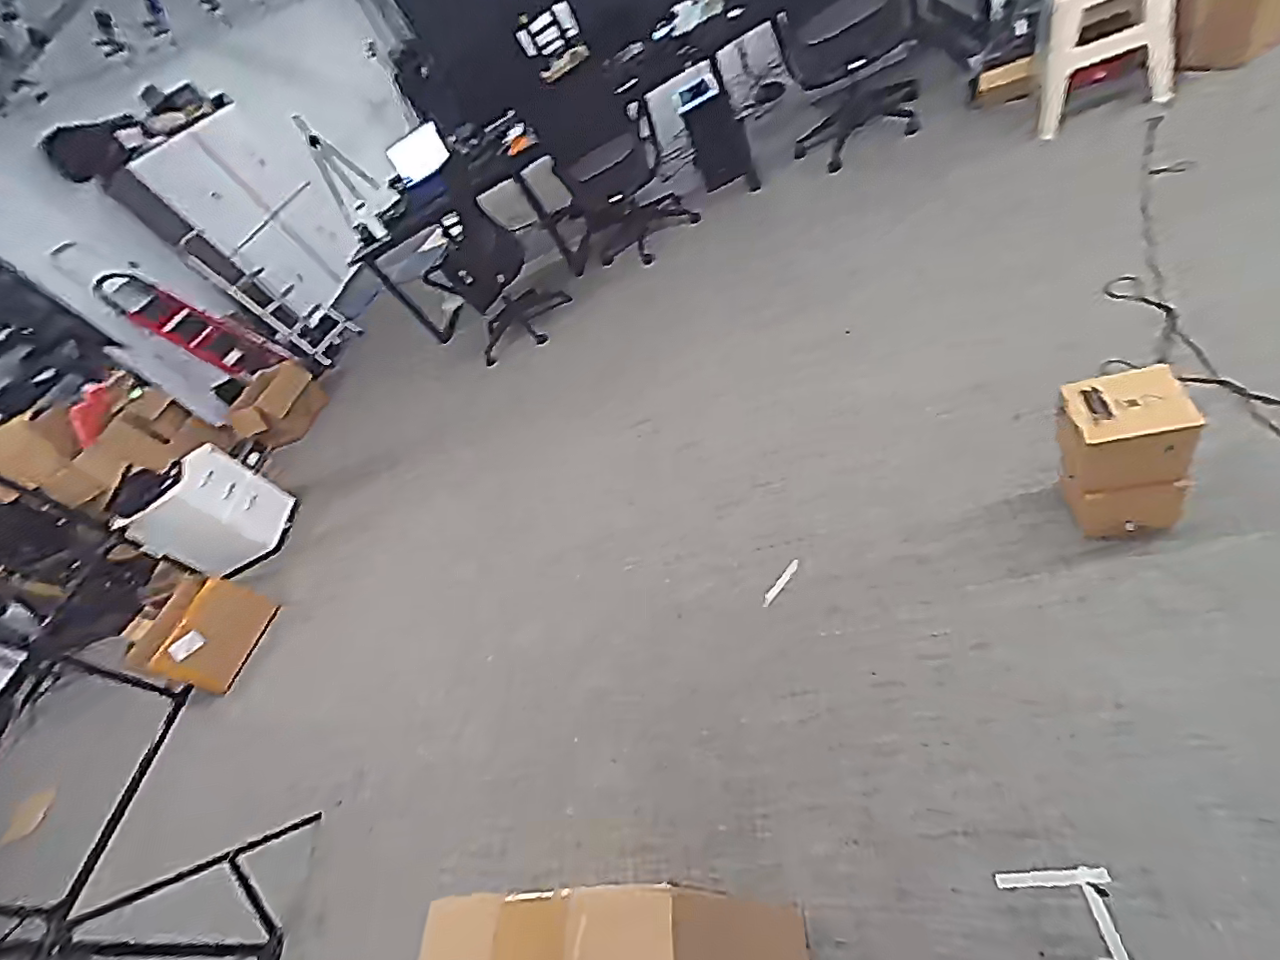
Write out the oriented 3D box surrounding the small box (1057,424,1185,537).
[{"bbox_3d":[1.063,0.005,1.213,0.168,0.176,0.179,-13,49,27],"label":"small box"}]
